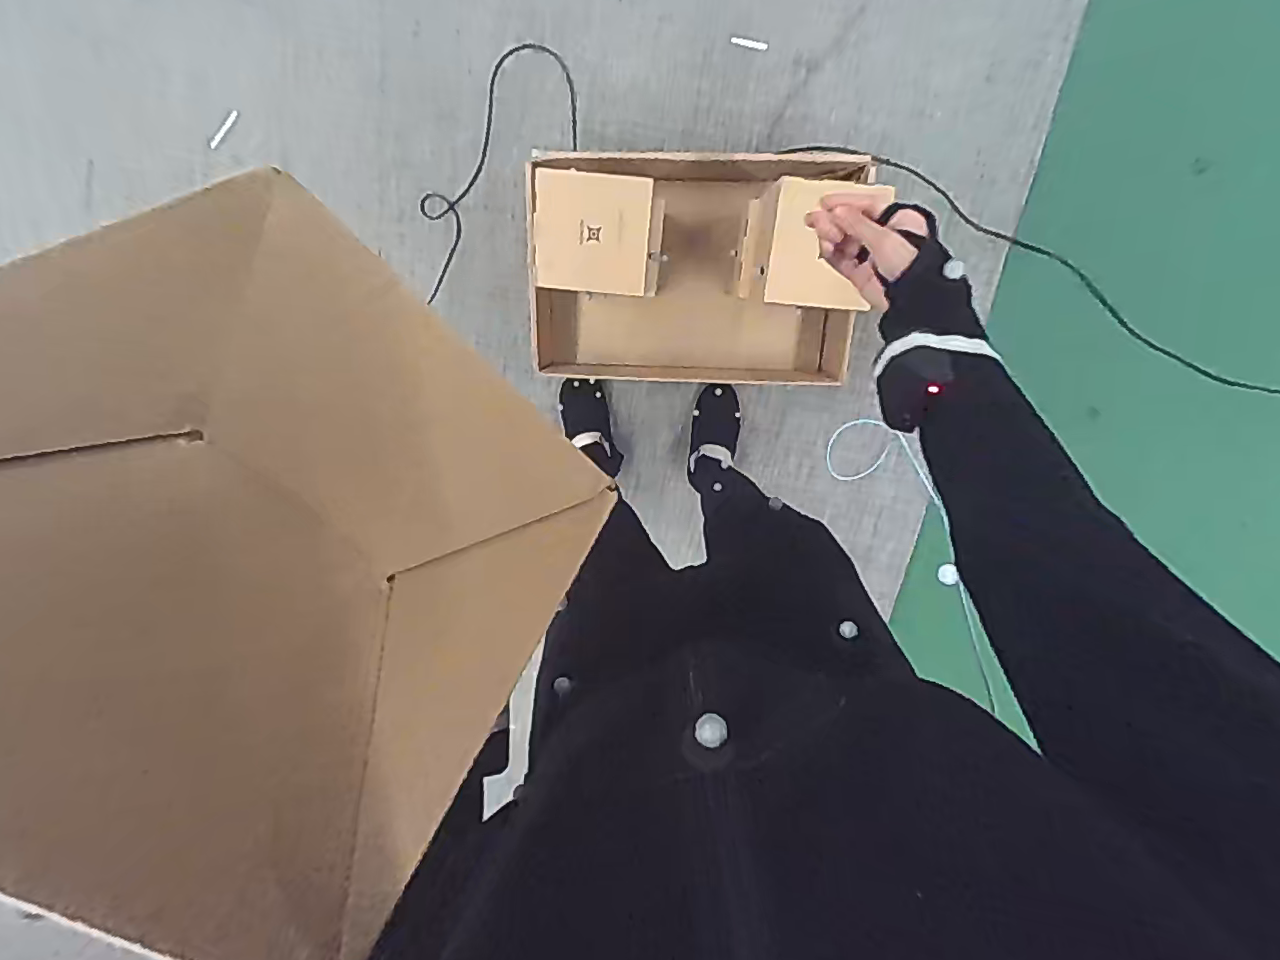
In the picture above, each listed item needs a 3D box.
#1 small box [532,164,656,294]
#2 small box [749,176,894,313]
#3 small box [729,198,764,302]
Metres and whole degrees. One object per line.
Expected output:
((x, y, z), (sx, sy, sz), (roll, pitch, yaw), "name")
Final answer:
((-0.069, -0.399, 0.886), (0.179, 0.176, 0.168), (6, 110, 0), "small box")
((0.280, -0.372, 0.879), (0.168, 0.176, 0.179), (6, 108, 0), "small box")
((0.272, -0.427, 1.035), (0.179, 0.176, 0.168), (7, 109, 1), "small box")
